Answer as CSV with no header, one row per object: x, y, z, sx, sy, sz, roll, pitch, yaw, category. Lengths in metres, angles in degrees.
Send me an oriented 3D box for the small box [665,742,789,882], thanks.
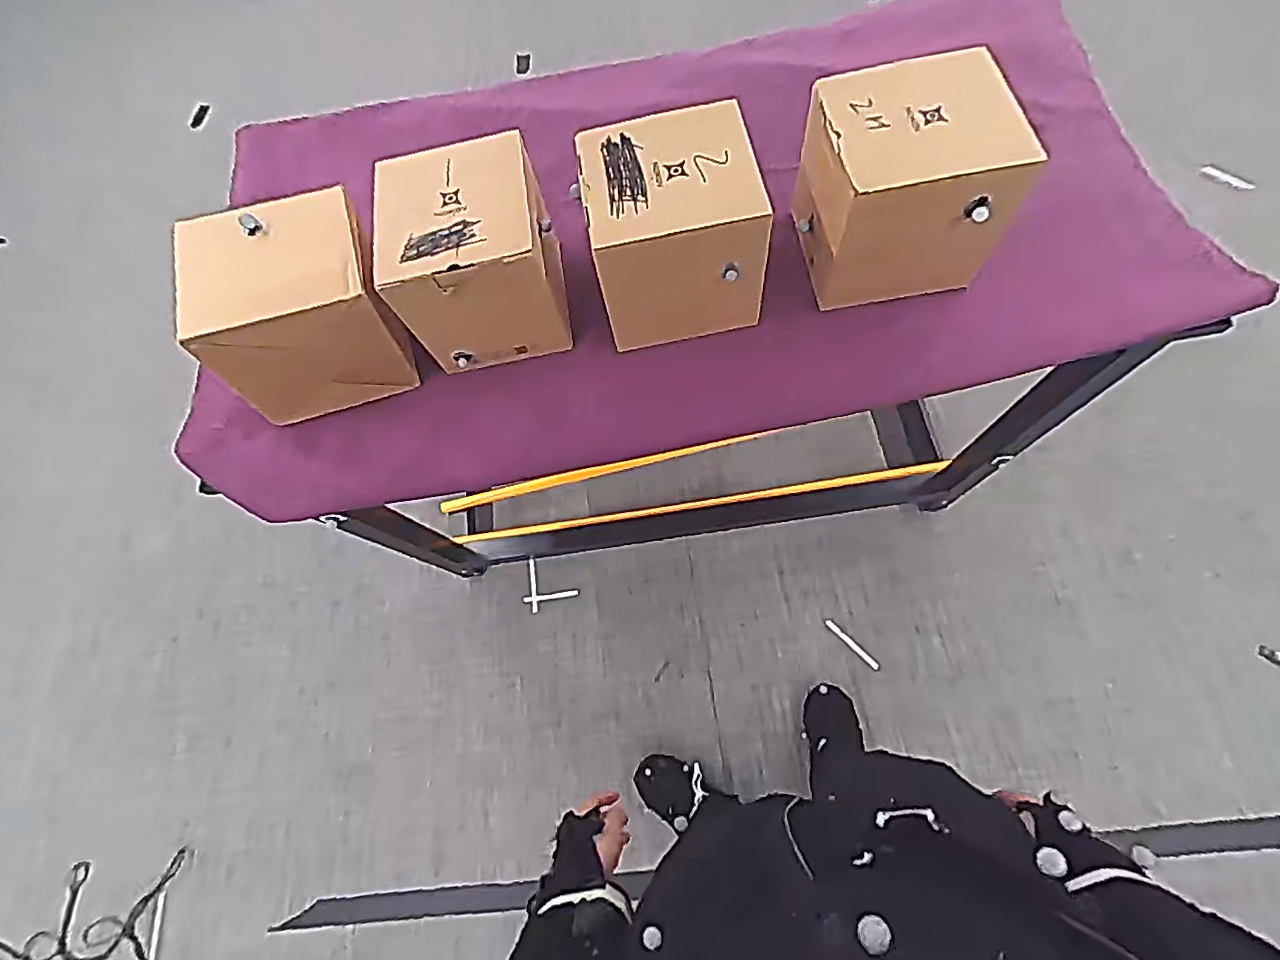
0.162,0.630,1.040,0.168,0.176,0.179,38,73,20,small box
